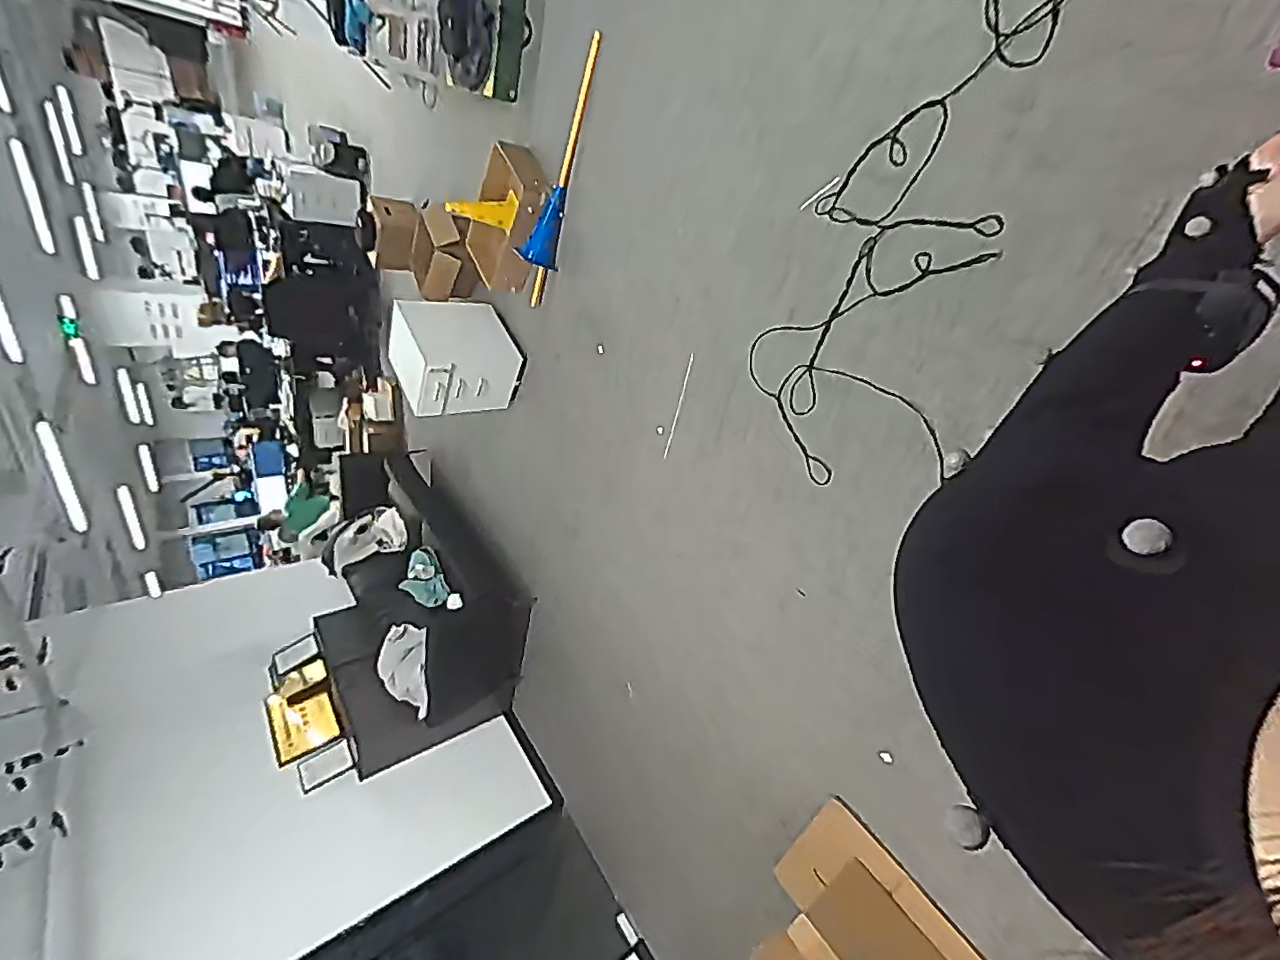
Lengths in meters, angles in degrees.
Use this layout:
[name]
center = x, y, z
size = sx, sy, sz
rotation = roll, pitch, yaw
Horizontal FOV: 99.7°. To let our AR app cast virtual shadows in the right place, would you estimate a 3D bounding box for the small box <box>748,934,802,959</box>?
[small box]
center = 0.424, 1.581, 1.697
size = 0.179, 0.176, 0.168
rotation = 46, 131, 34
